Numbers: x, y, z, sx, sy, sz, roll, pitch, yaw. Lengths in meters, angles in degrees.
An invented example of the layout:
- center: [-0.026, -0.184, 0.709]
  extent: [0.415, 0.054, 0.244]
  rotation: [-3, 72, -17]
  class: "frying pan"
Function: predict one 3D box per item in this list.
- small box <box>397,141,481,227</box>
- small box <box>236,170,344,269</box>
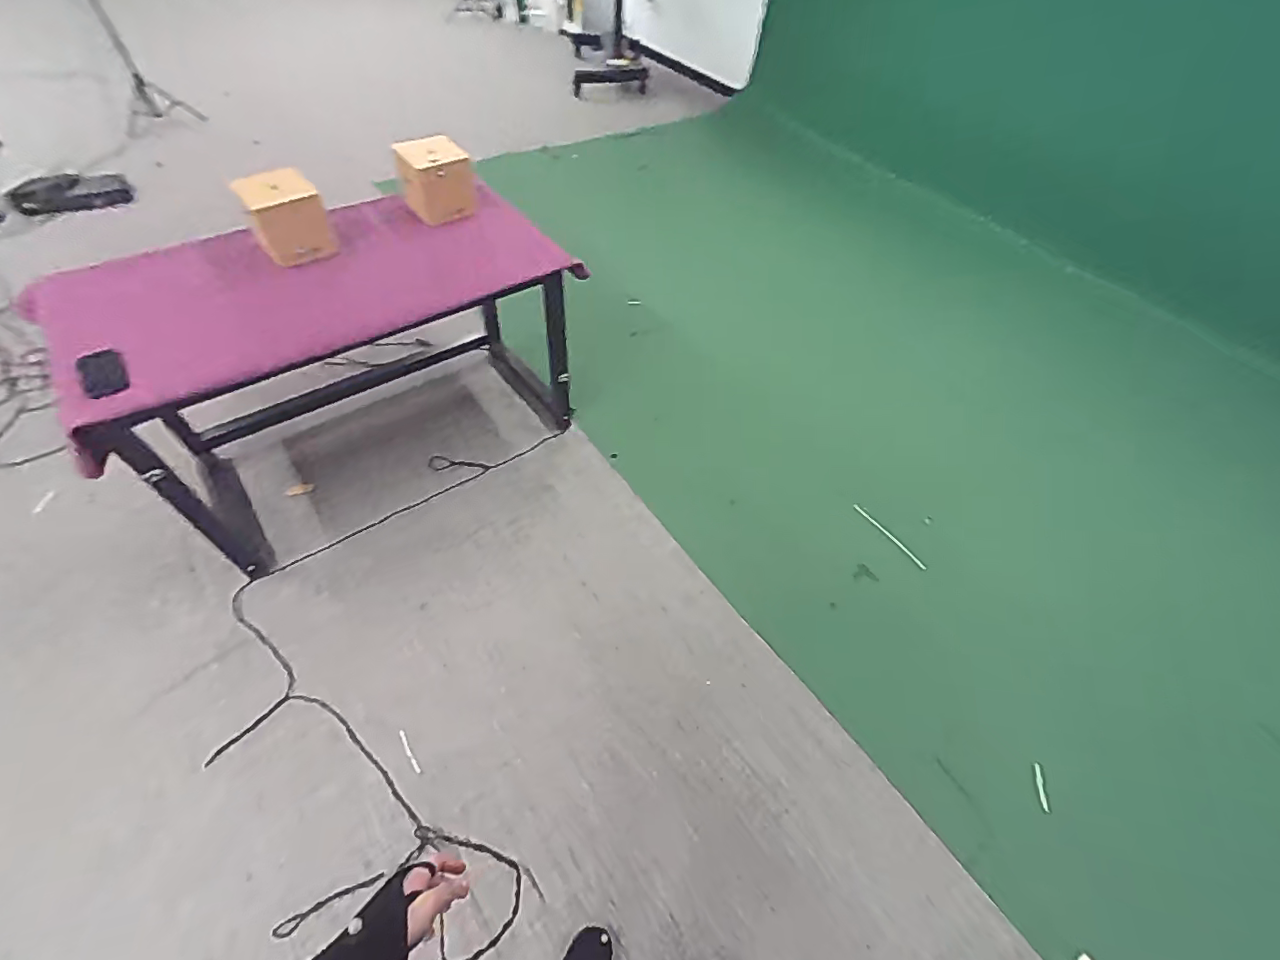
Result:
- center: [-0.610, -0.903, 1.652]
  extent: [0.168, 0.176, 0.179]
  rotation: [-31, 61, -25]
  class: "small box"
- center: [-0.944, -0.705, 1.468]
  extent: [0.168, 0.176, 0.179]
  rotation: [-33, 62, -25]
  class: "small box"
